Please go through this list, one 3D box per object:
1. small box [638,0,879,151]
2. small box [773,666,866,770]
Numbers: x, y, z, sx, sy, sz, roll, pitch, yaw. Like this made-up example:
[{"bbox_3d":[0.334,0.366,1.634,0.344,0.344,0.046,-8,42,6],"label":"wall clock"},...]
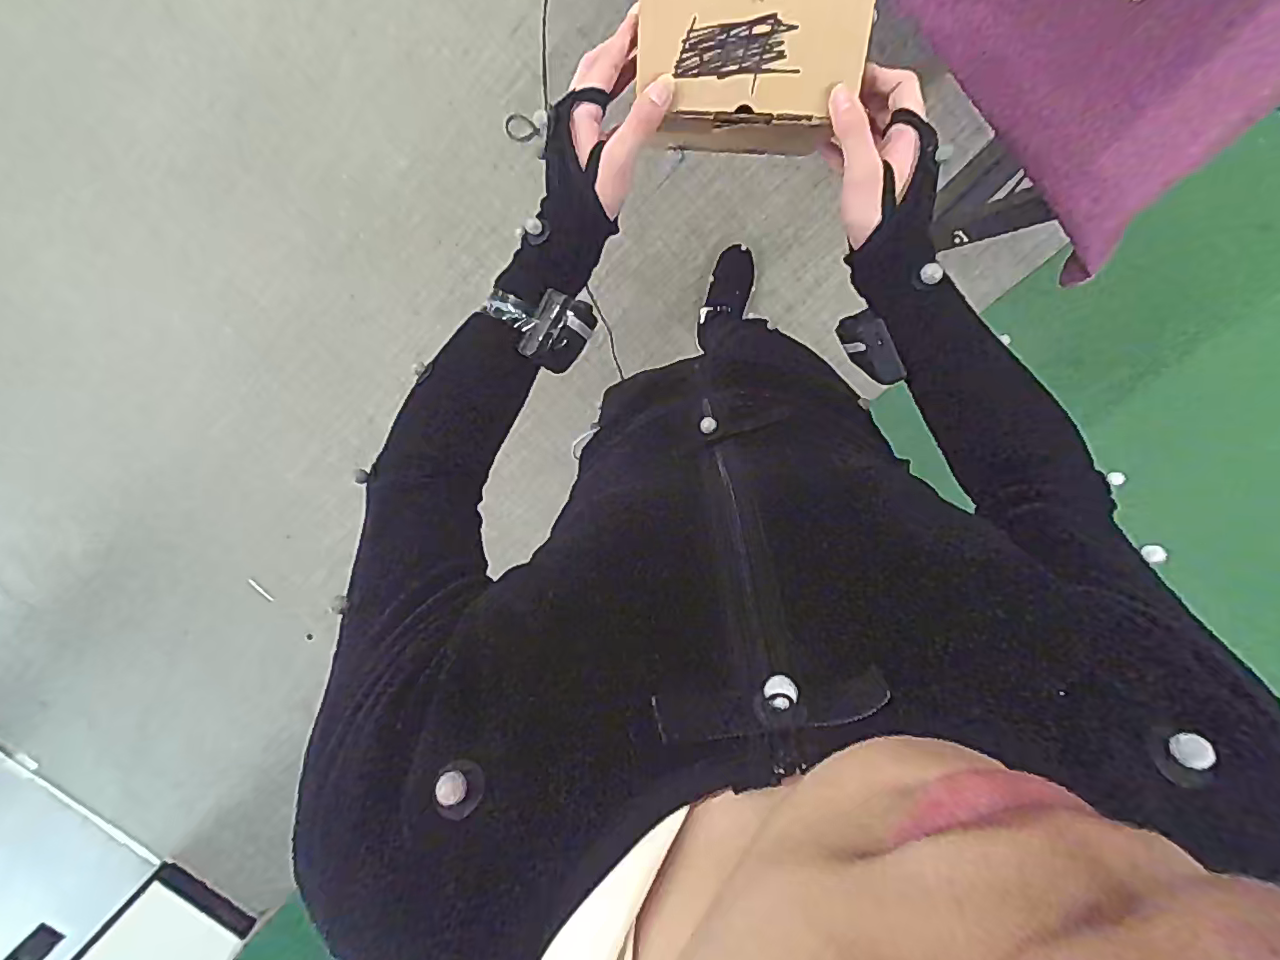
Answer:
[{"bbox_3d":[0.091,-0.383,0.441,0.168,0.176,0.179,4,113,3],"label":"small box"},{"bbox_3d":[0.505,0.675,1.545,0.168,0.176,0.179,-40,99,14],"label":"small box"}]
